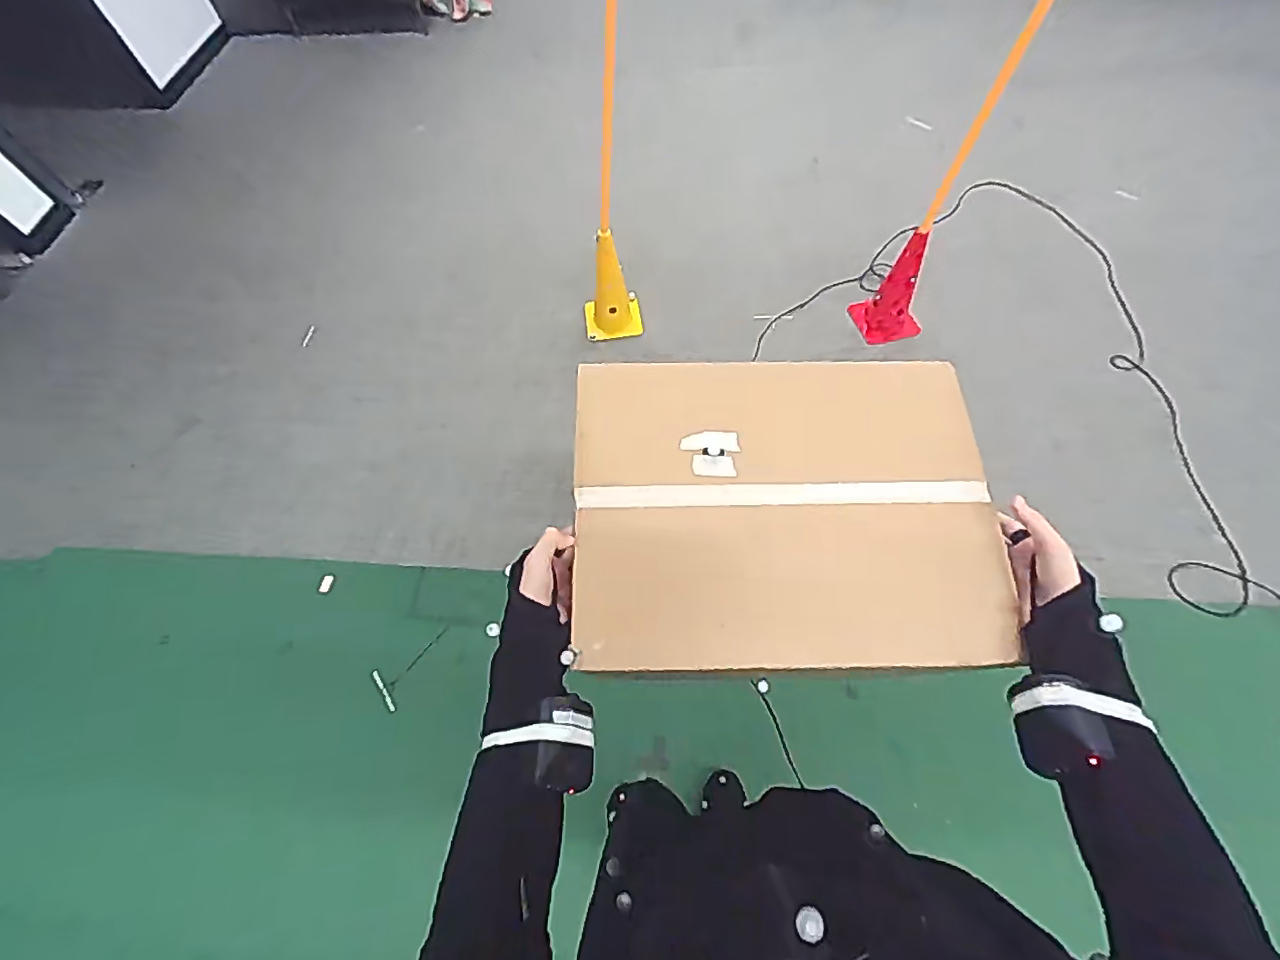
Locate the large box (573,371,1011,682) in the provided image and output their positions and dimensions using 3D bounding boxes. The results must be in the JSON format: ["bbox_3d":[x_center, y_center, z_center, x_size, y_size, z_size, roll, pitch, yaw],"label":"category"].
[{"bbox_3d":[0.137,0.082,0.677,0.408,0.320,0.320,-1,68,0],"label":"large box"}]
